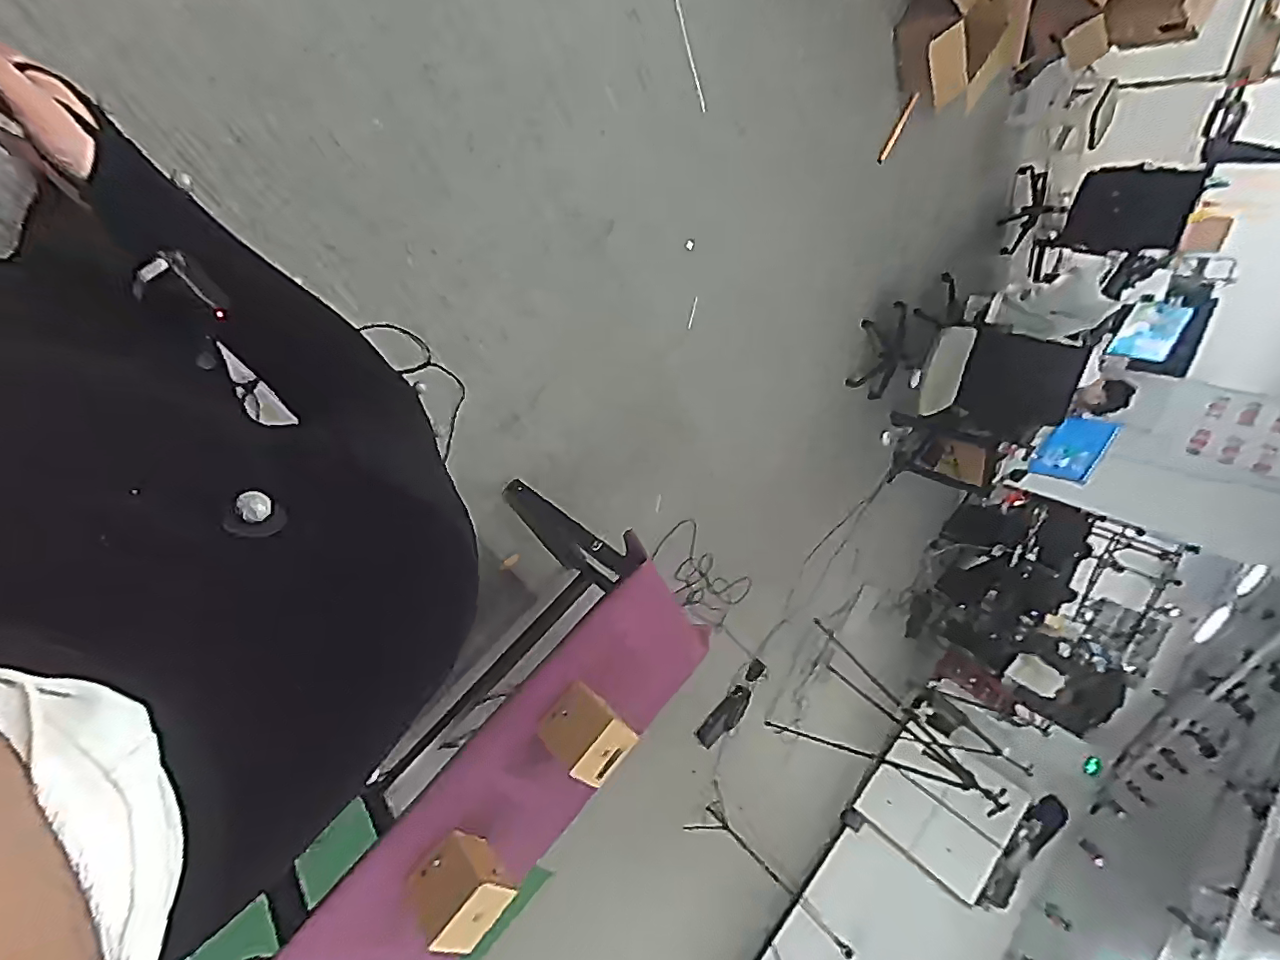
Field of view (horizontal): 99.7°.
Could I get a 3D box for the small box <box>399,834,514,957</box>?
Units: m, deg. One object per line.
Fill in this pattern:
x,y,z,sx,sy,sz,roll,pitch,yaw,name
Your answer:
-0.446,1.007,1.319,0.168,0.176,0.179,-45,137,-20,small box
